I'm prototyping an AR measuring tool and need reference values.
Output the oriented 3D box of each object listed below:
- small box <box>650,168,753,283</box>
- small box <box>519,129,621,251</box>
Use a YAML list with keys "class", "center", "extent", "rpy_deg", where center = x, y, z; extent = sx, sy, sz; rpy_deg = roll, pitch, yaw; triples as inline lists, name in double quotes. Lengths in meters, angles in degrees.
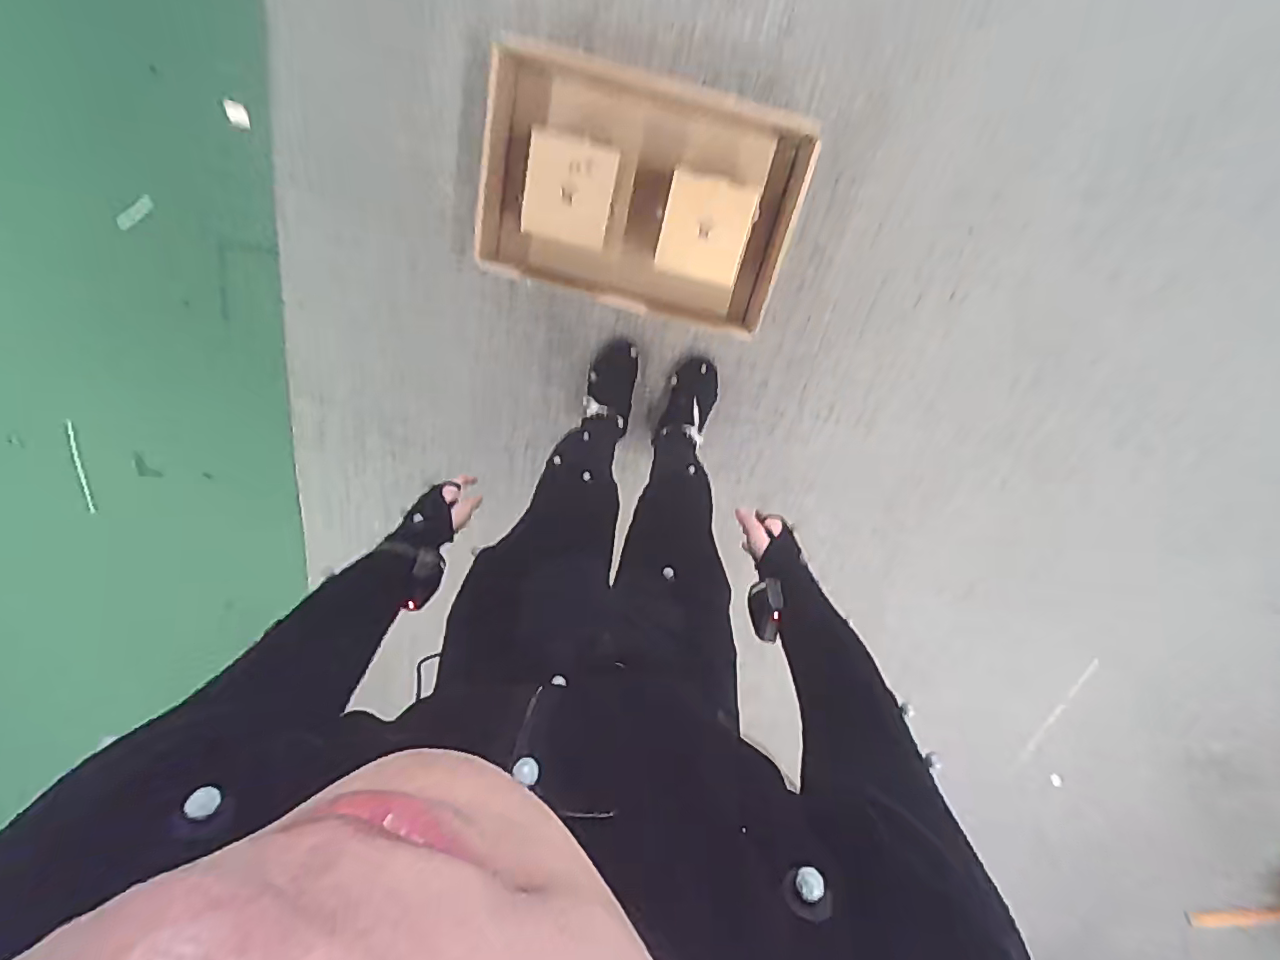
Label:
- class: "small box"
  center: [0.123, -0.528, 1.127]
  extent: [0.168, 0.176, 0.179]
  rpy_deg: [13, 116, -3]
- class: "small box"
  center: [-0.138, -0.587, 1.107]
  extent: [0.168, 0.176, 0.179]
  rpy_deg: [13, 116, -5]
